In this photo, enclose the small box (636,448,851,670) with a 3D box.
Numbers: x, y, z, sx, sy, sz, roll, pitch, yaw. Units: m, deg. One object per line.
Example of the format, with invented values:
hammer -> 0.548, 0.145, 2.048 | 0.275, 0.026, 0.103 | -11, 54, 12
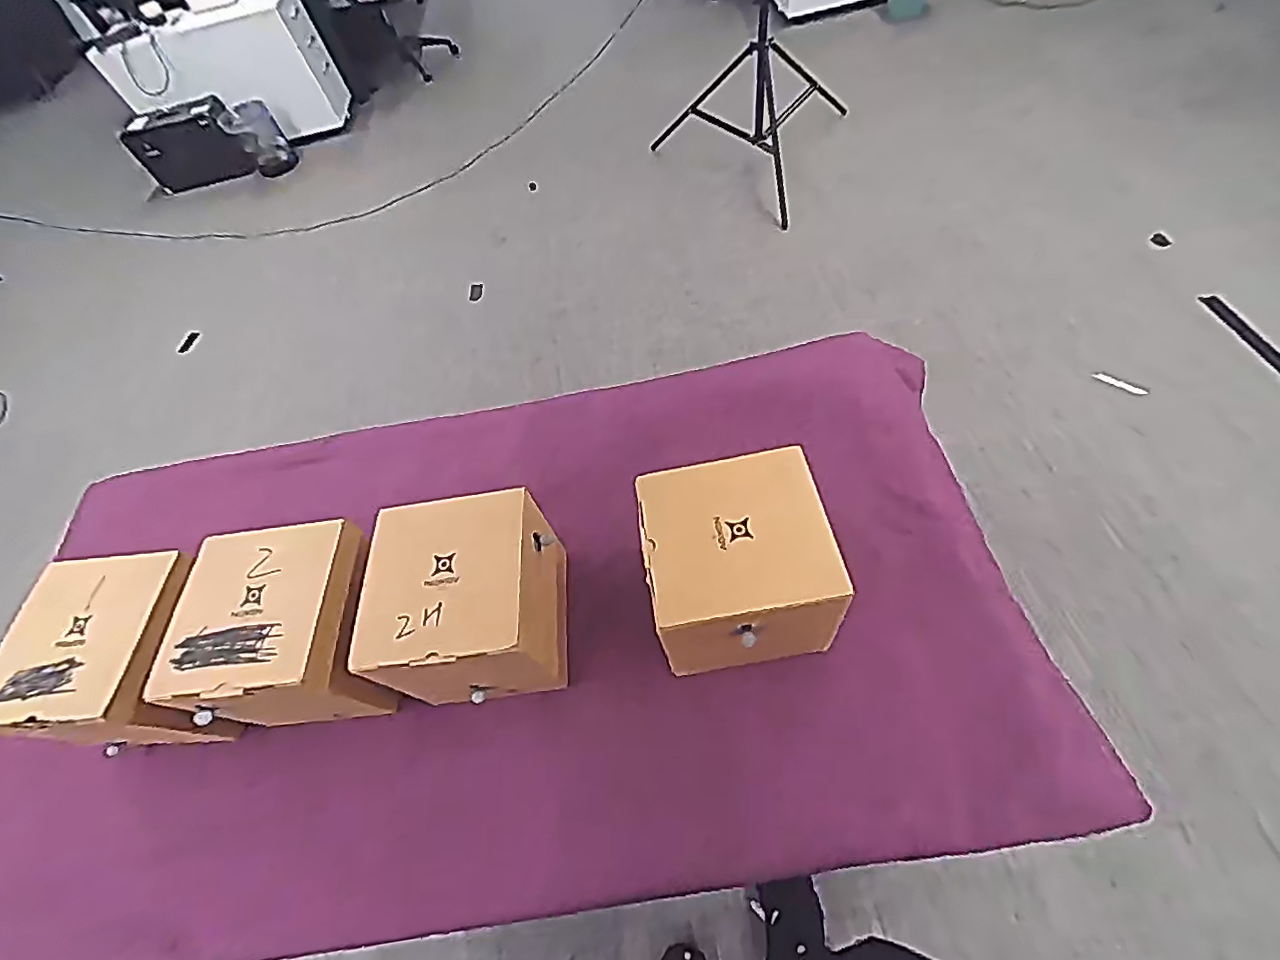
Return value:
small box -> 0.101, 0.092, 0.581 | 0.179, 0.176, 0.168 | -12, 56, 4
